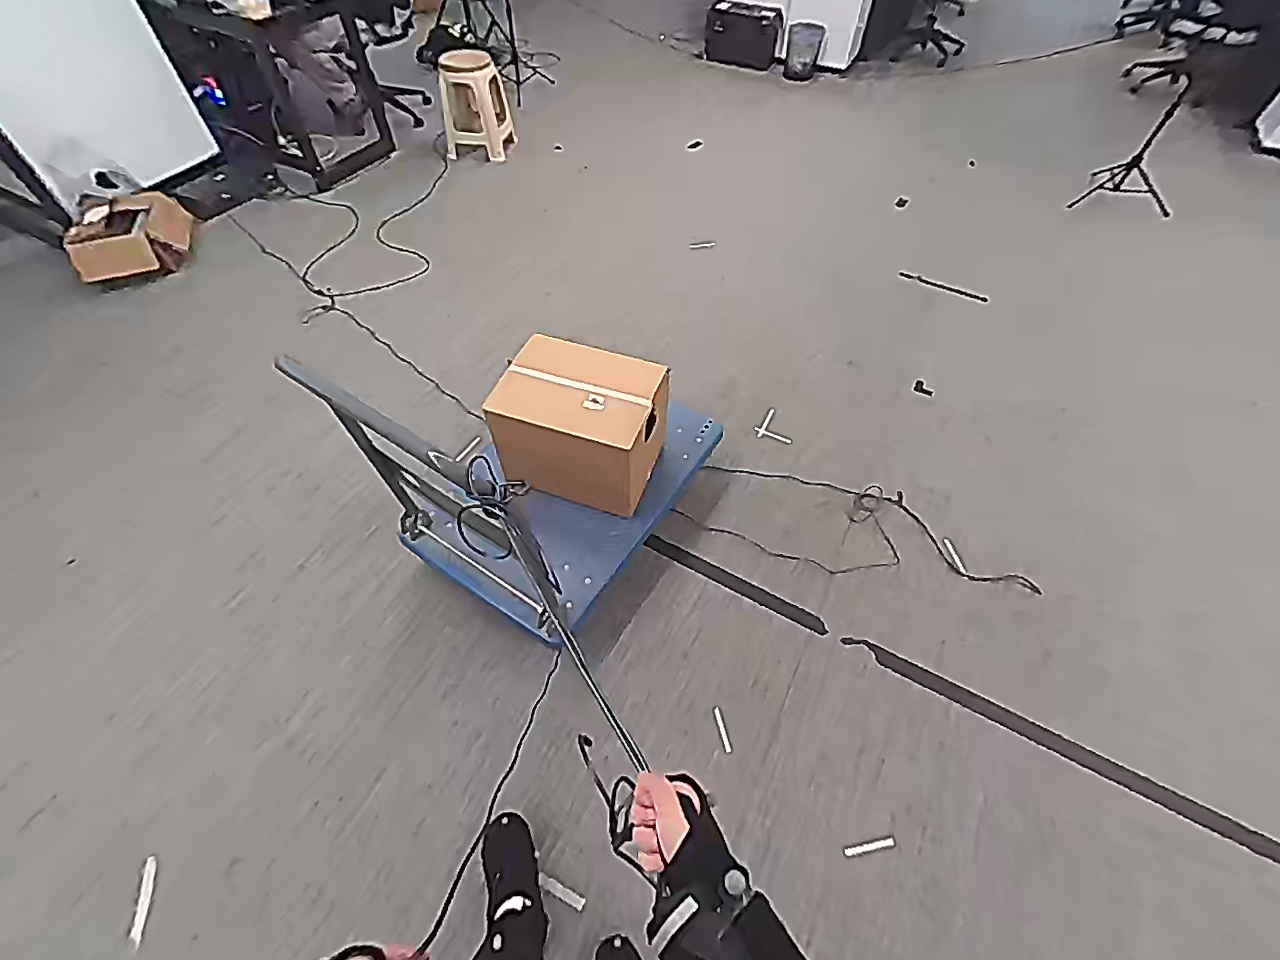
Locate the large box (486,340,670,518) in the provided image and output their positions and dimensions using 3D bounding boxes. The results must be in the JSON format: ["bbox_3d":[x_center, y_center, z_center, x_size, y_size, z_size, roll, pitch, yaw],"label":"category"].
[{"bbox_3d":[-0.160,-0.143,1.525,0.408,0.320,0.320,17,56,10],"label":"large box"}]
